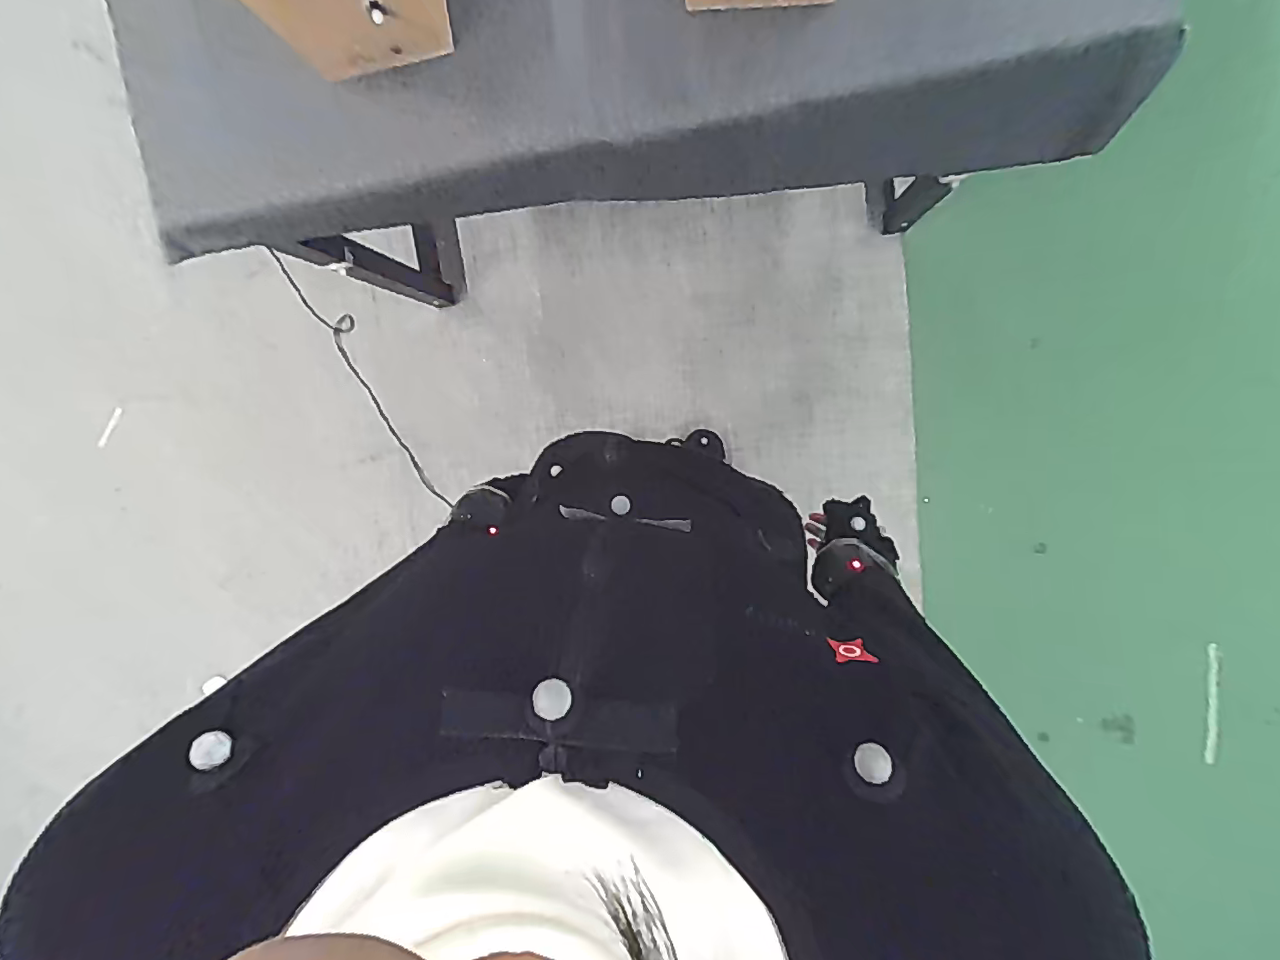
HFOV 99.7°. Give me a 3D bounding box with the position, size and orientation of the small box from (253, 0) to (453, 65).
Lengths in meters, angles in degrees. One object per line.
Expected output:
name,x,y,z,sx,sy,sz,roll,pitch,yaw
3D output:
small box,-0.318,-0.582,0.569,0.168,0.176,0.179,-8,96,7
